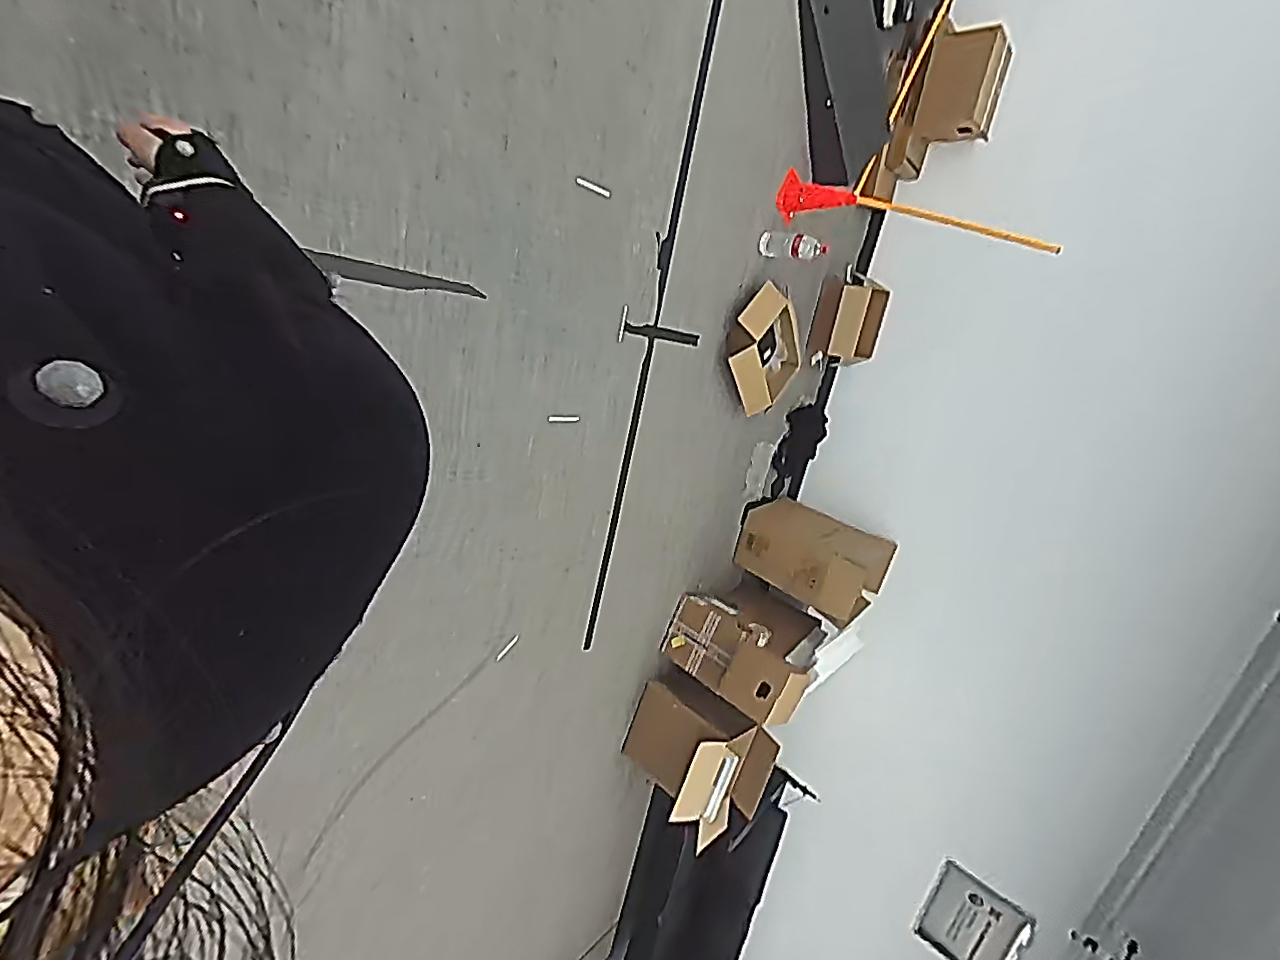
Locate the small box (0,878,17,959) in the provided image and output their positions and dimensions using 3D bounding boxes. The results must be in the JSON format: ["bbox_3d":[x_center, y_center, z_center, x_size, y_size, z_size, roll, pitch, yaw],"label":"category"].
[{"bbox_3d":[-1.434,0.954,1.117,0.168,0.176,0.179,-17,123,-48],"label":"small box"}]
